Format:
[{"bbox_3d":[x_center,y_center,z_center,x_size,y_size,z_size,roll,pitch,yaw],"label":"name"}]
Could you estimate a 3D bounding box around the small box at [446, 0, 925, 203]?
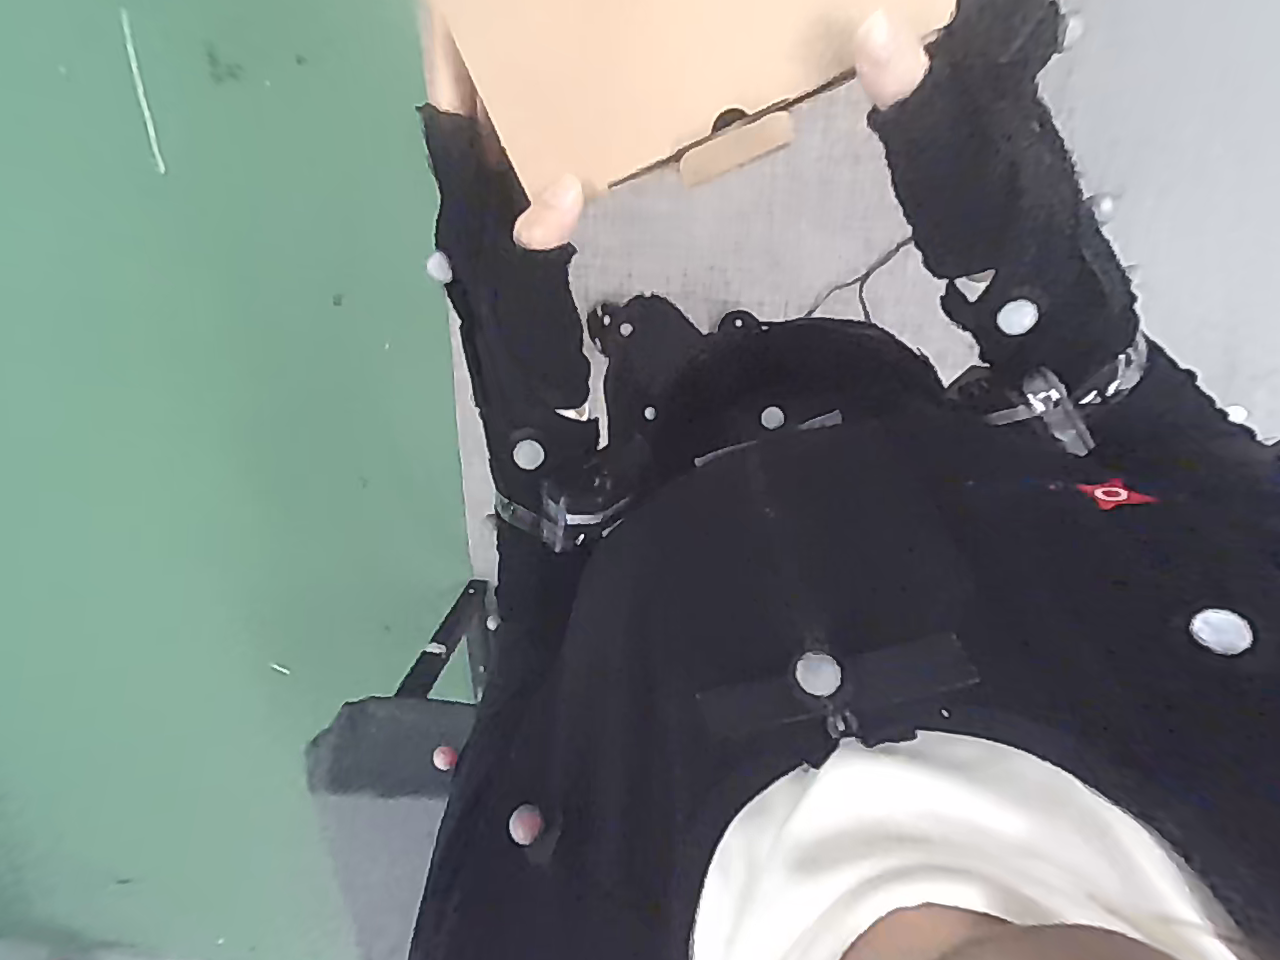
[{"bbox_3d":[0.000,-0.254,0.238,0.168,0.176,0.179,-19,122,11],"label":"small box"}]
